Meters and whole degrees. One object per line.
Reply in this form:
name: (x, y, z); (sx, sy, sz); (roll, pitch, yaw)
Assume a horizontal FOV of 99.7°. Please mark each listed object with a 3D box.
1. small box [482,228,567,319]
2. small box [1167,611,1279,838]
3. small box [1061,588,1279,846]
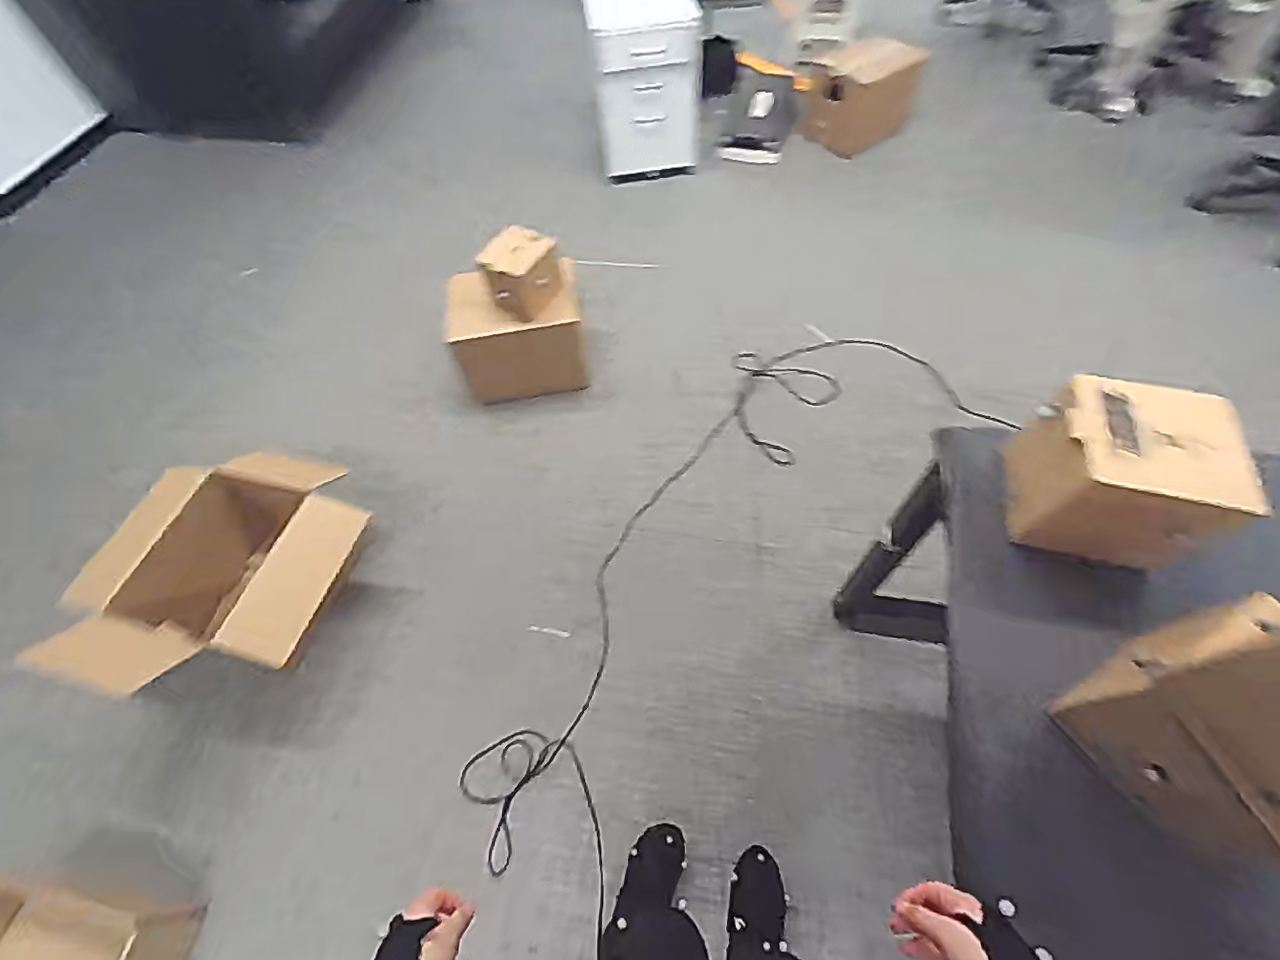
small box: (-0.340, -0.621, 1.638); (0.168, 0.176, 0.179); (27, 66, 18)
small box: (0.567, 0.173, 0.404); (0.179, 0.176, 0.168); (-16, 60, -8)
small box: (0.585, 0.245, 0.550); (0.179, 0.176, 0.168); (-27, 62, -13)
